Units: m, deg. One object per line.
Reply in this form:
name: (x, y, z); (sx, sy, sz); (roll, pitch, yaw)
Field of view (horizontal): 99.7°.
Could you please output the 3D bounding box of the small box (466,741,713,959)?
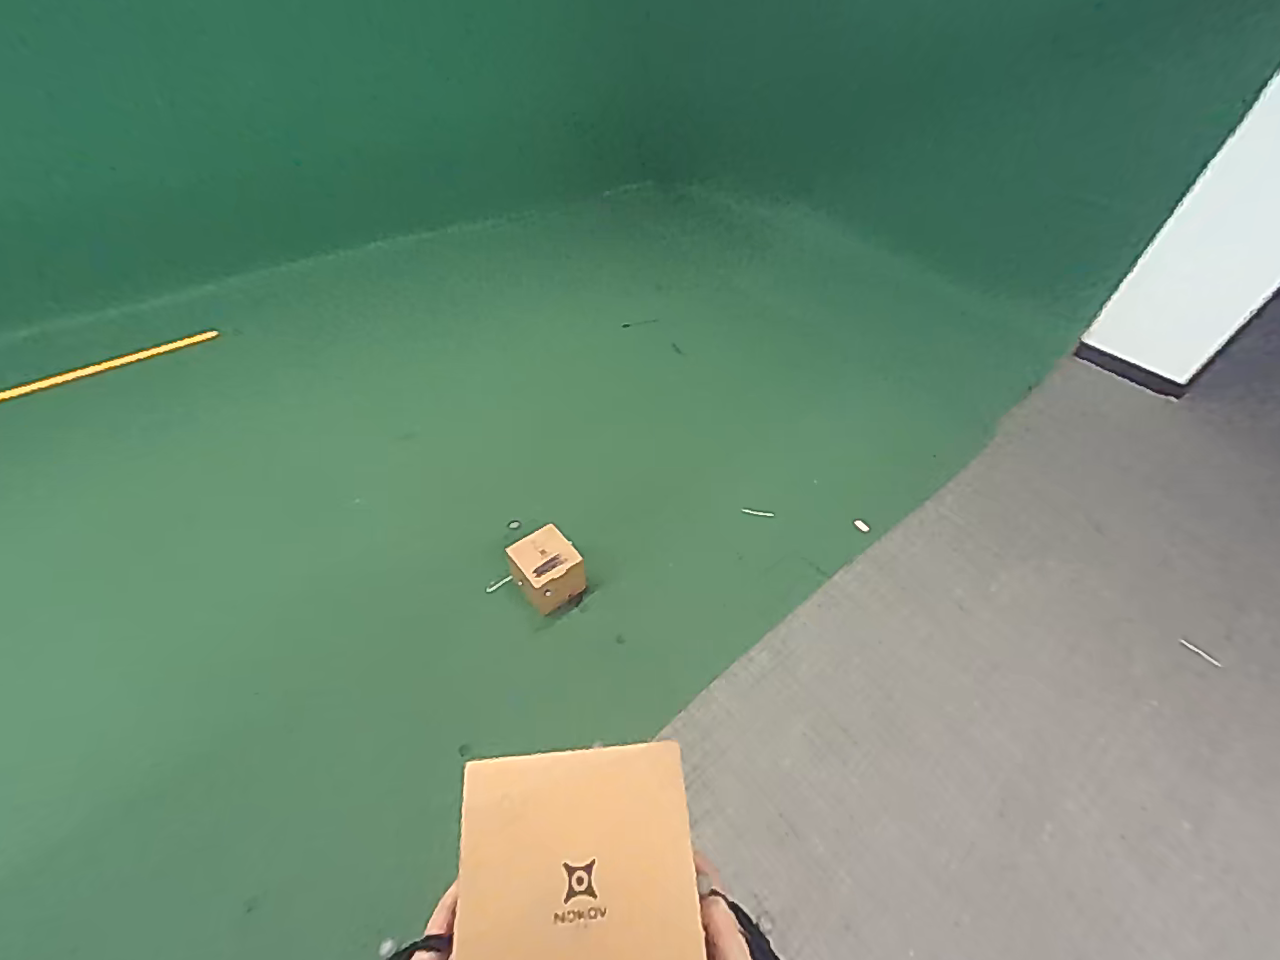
small box: (-0.044, 0.328, 0.443); (0.168, 0.176, 0.179); (-2, 57, -8)
